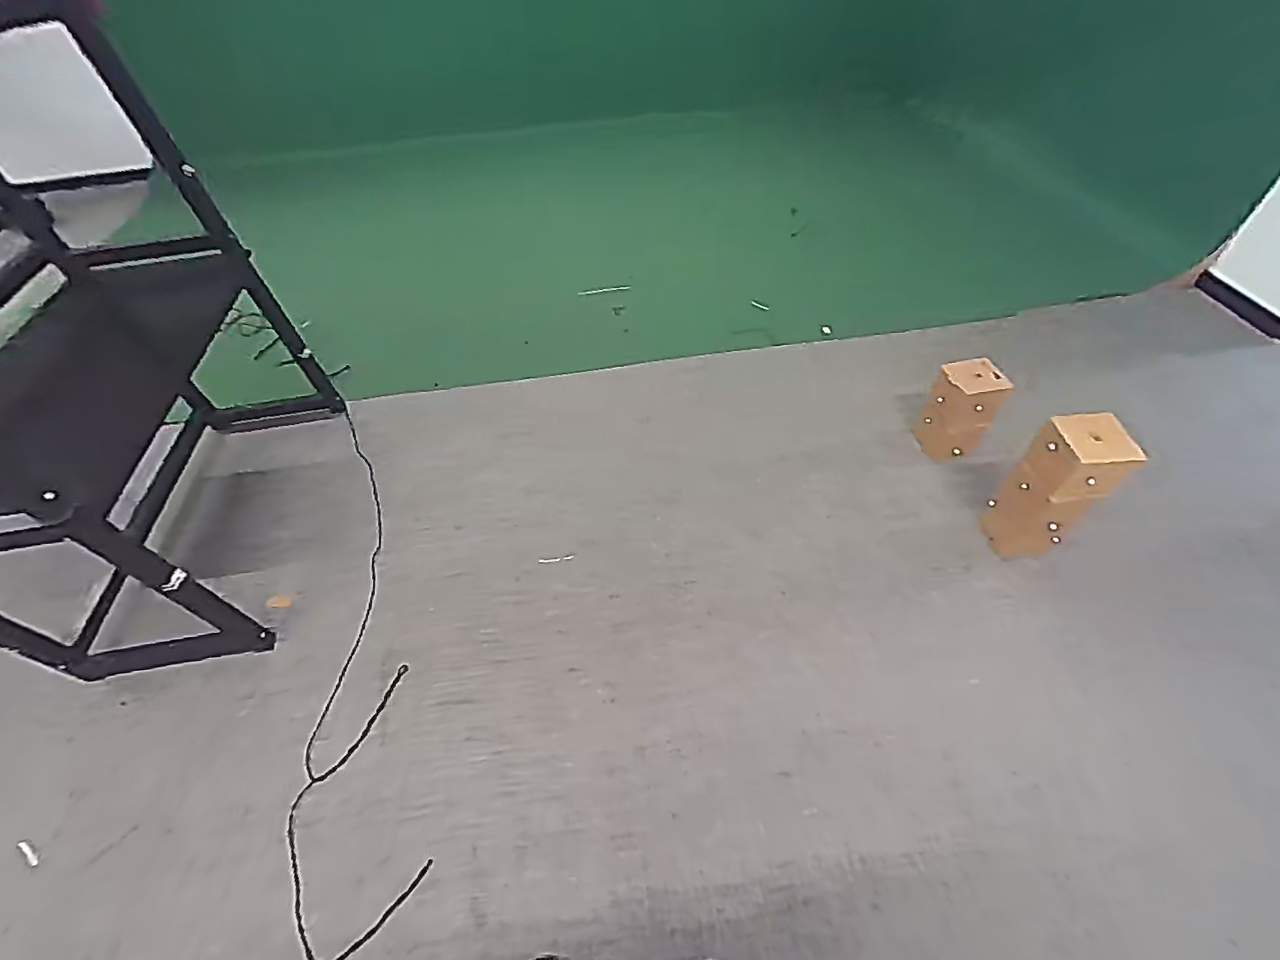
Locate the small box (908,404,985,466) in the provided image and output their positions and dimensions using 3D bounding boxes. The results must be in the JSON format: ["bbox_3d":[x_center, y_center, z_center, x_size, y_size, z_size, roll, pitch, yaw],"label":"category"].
[{"bbox_3d":[1.159,-0.179,2.062,0.168,0.176,0.179,-9,51,-3],"label":"small box"}]

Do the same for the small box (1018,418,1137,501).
[{"bbox_3d":[1.220,-0.051,1.524,0.168,0.176,0.179,-4,50,2],"label":"small box"}]

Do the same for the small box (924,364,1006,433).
[{"bbox_3d":[1.150,-0.287,1.938,0.179,0.176,0.168,-11,51,-4],"label":"small box"}]

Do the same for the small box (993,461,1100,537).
[{"bbox_3d":[1.226,0.051,1.650,0.168,0.176,0.179,-7,51,-1],"label":"small box"}]
